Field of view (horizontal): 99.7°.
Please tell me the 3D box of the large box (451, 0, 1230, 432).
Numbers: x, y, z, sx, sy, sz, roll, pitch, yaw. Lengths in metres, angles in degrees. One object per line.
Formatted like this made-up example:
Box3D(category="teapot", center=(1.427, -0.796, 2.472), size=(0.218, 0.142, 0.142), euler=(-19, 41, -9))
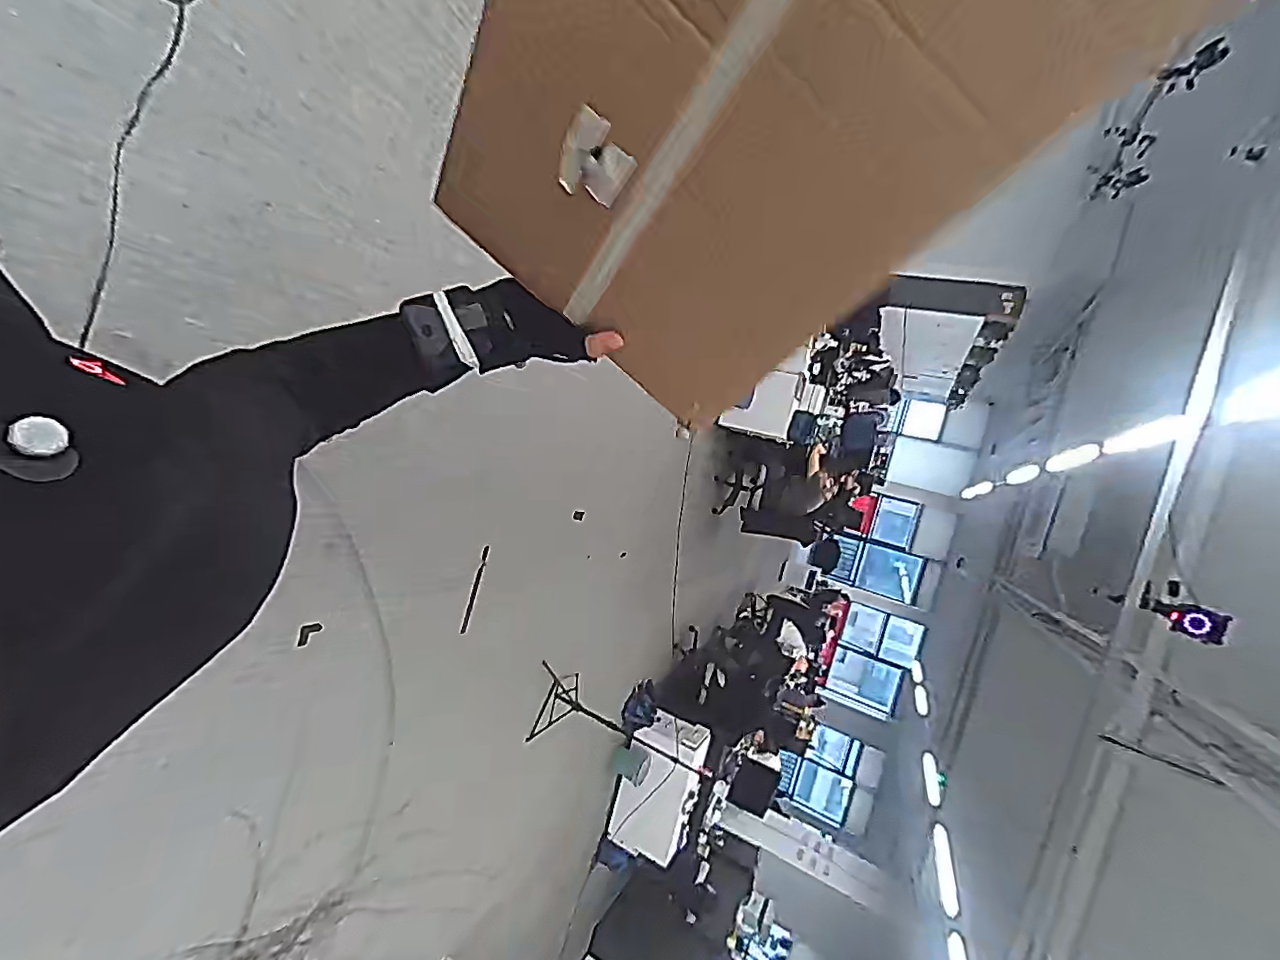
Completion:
Box3D(category="large box", center=(0.106, -0.316, 0.439), size=(0.408, 0.320, 0.320), euler=(-35, -164, 52))
